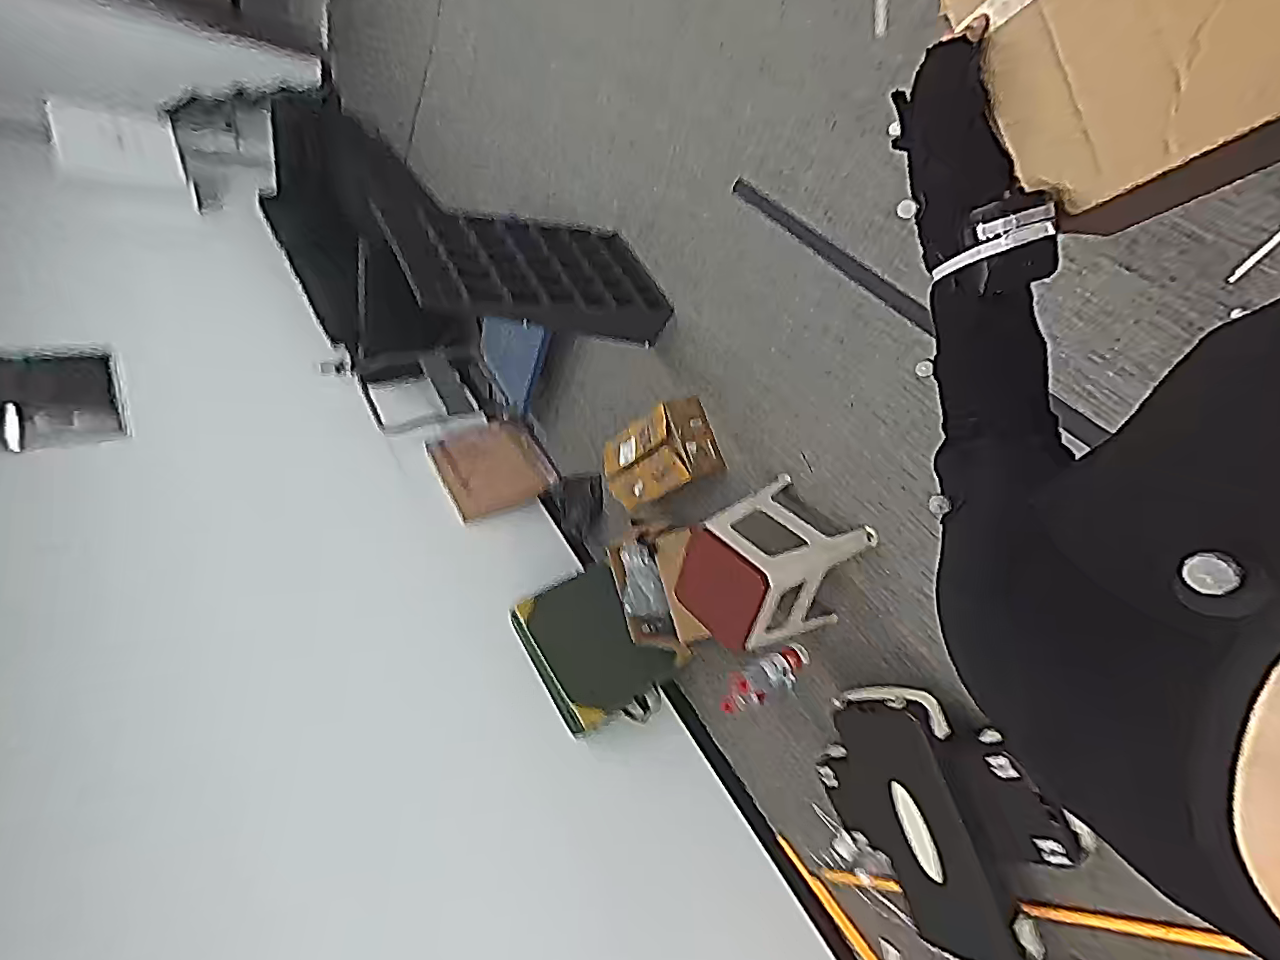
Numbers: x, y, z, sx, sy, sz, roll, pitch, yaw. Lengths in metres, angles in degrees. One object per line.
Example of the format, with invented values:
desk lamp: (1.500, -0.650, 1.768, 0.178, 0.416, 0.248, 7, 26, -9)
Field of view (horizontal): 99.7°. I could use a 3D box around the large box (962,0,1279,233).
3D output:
large box: (0.475, -0.414, 0.348, 0.408, 0.320, 0.320, -18, 92, 50)
